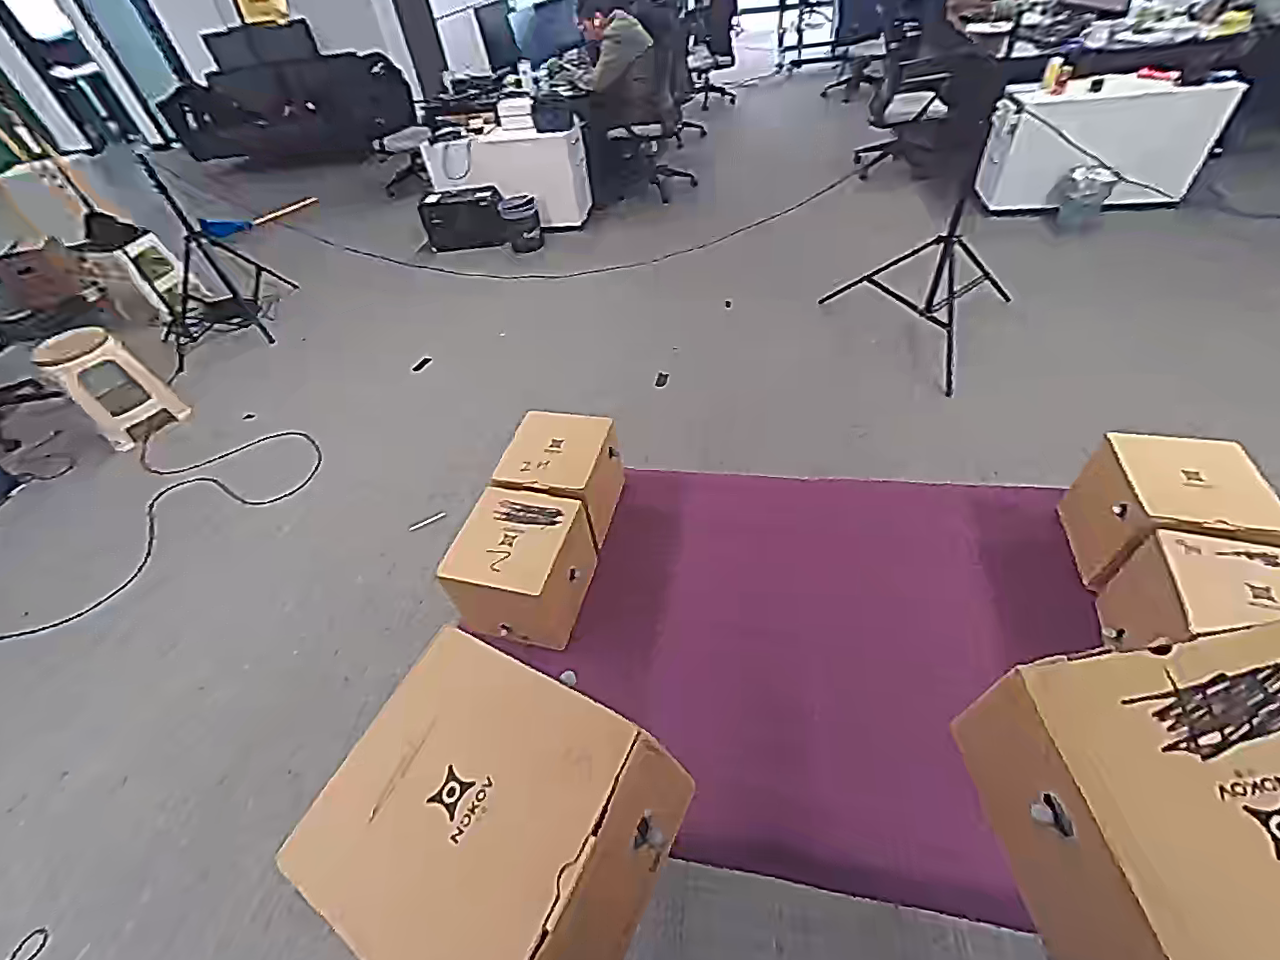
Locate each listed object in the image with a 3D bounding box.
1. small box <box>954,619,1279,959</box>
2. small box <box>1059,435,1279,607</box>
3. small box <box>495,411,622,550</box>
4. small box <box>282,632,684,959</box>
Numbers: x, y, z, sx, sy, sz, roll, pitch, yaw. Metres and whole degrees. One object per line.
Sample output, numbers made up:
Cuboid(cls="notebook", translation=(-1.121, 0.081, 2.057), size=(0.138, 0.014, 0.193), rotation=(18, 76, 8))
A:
Cuboid(cls="small box", translation=(0.334, 0.212, 0.342), size=(0.168, 0.176, 0.179), rotation=(-13, 54, 6))
Cuboid(cls="small box", translation=(0.765, 0.060, 0.801), size=(0.168, 0.176, 0.179), rotation=(7, 47, 13))
Cuboid(cls="small box", translation=(-0.135, 0.000, 0.979), size=(0.168, 0.176, 0.179), rotation=(7, 49, 14))
Cuboid(cls="small box", translation=(-0.087, 0.240, 0.382), size=(0.179, 0.176, 0.168), rotation=(14, 57, 29))
